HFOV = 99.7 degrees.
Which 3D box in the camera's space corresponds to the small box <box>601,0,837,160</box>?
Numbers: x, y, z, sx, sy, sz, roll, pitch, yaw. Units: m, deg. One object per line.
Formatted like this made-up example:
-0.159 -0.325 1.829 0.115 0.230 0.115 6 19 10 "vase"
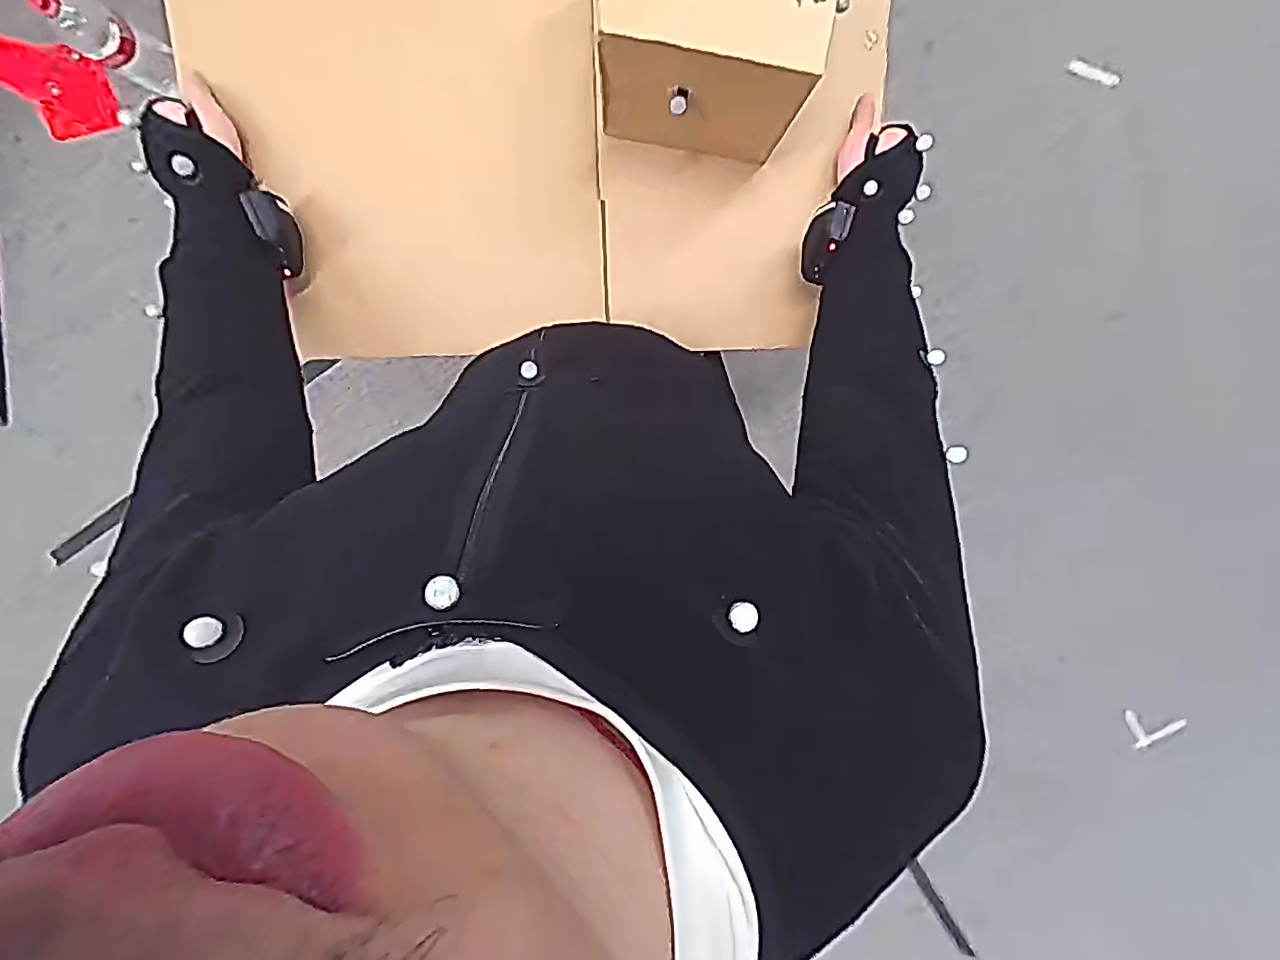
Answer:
0.067 -0.413 0.479 0.179 0.176 0.168 9 100 -3 "small box"
